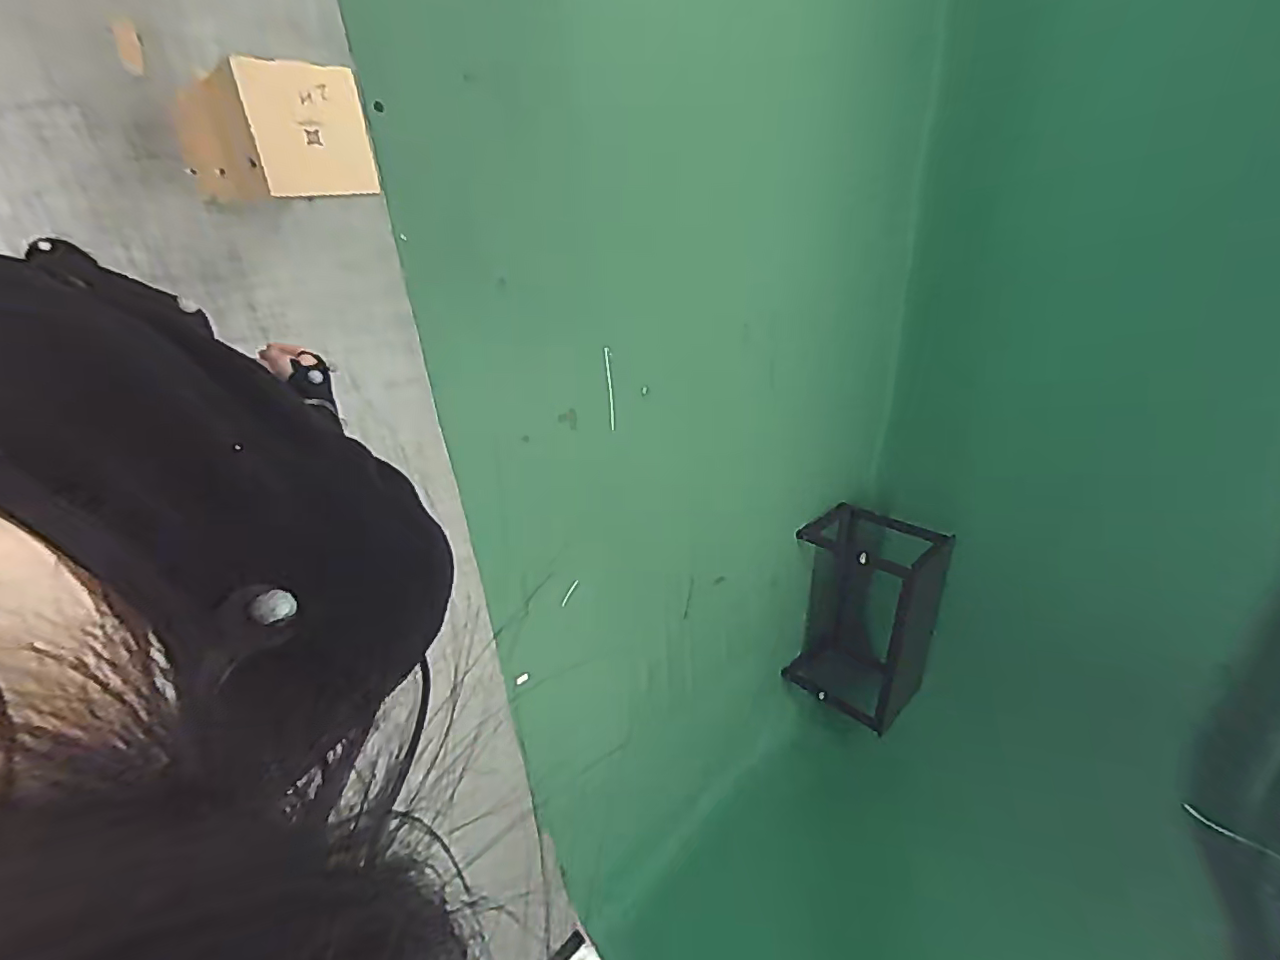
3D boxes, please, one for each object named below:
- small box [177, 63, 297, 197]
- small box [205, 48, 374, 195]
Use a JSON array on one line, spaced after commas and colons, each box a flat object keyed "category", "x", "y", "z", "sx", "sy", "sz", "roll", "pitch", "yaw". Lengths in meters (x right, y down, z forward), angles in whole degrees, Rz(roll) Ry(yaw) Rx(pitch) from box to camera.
[{"category": "small box", "x": -0.685, "y": -0.611, "z": 0.964, "sx": 0.168, "sy": 0.176, "sz": 0.179, "roll": -27, "pitch": 126, "yaw": -37}, {"category": "small box", "x": -0.560, "y": -0.559, "z": 0.869, "sx": 0.168, "sy": 0.176, "sz": 0.179, "roll": -26, "pitch": 125, "yaw": -37}]
